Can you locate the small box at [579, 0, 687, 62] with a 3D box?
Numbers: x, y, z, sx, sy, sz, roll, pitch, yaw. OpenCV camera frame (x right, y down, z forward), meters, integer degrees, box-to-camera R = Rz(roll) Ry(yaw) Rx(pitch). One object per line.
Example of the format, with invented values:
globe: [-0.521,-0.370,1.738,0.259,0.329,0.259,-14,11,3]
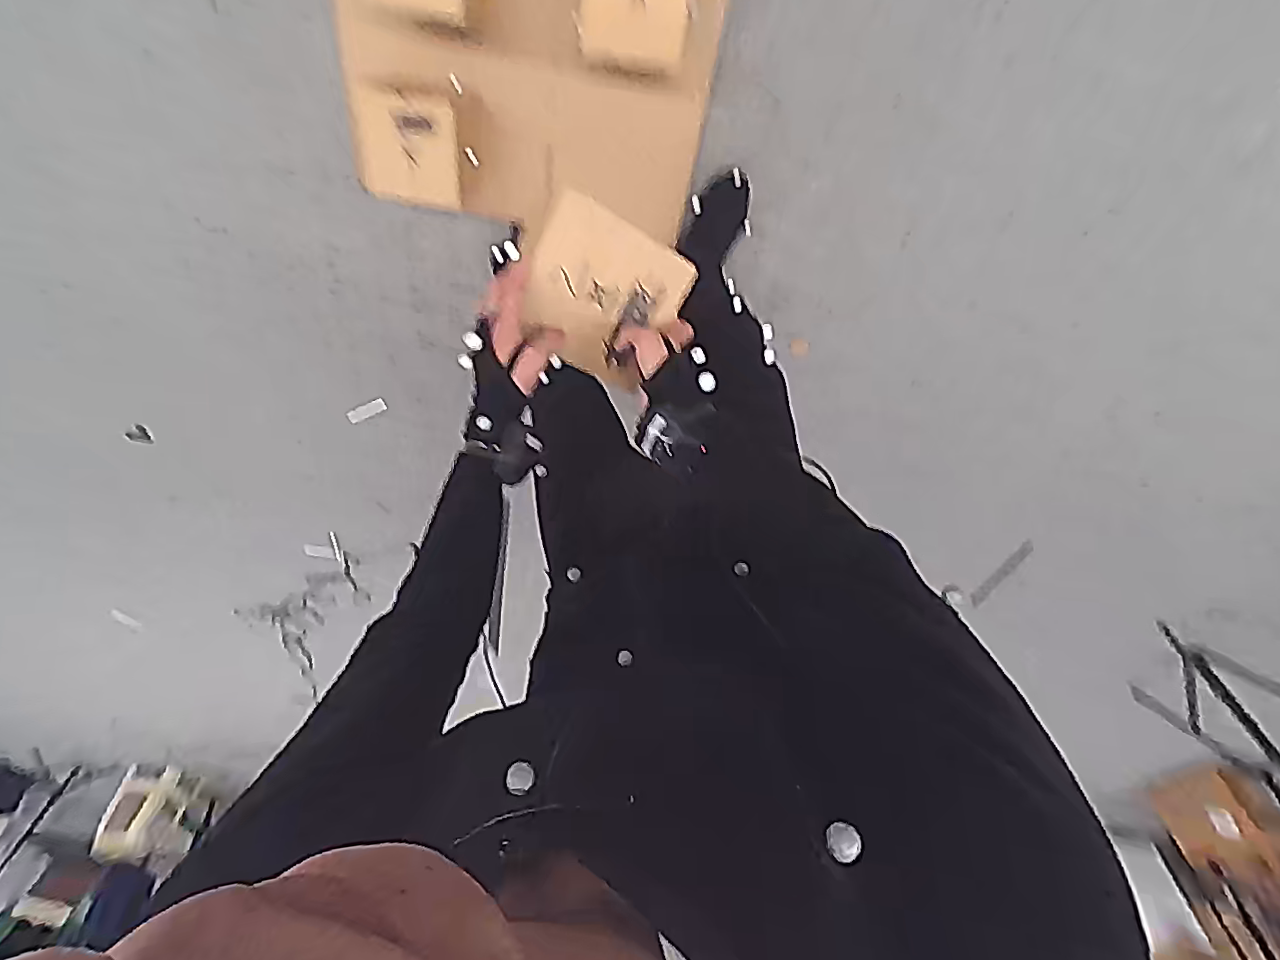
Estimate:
small box: [-0.006,-0.810,0.881,0.168,0.176,0.179,6,132,-3]

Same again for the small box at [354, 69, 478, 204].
small box: [-0.414,-0.658,1.030,0.168,0.176,0.179,8,133,-5]

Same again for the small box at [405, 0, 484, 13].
small box: [-0.344,-0.860,0.840,0.168,0.176,0.179,9,132,-5]
